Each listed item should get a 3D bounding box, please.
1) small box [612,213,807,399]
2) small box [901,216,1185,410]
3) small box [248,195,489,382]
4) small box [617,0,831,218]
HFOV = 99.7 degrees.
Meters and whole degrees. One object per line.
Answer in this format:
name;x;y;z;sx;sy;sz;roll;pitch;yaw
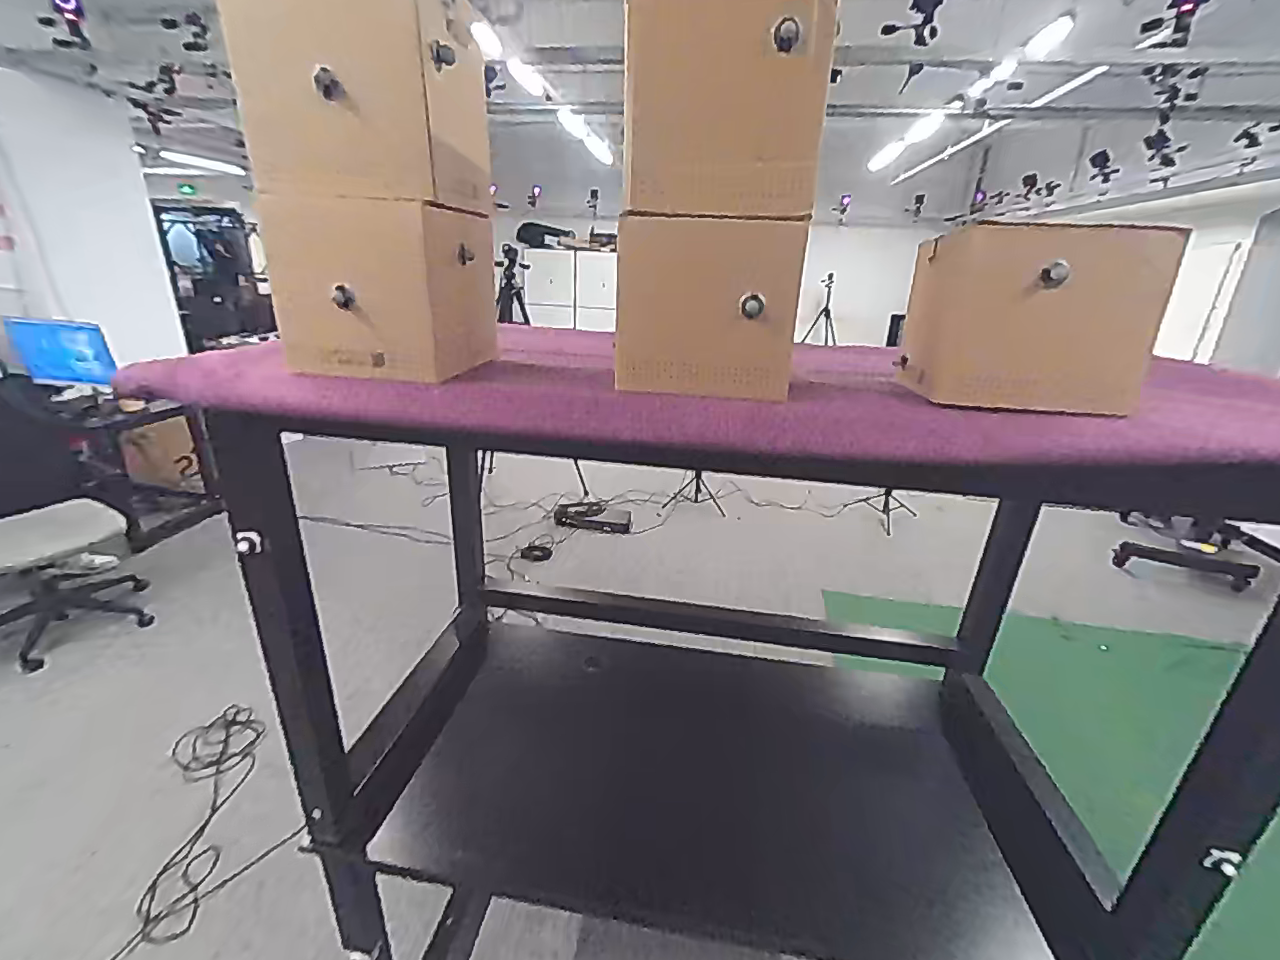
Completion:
small box;0.068;-0.186;0.585;0.179;0.176;0.168;3;21;6
small box;0.391;-0.171;0.569;0.179;0.176;0.168;6;19;8
small box;-0.274;-0.208;0.595;0.168;0.176;0.179;5;22;4
small box;0.072;-0.340;0.529;0.179;0.176;0.168;4;21;4
